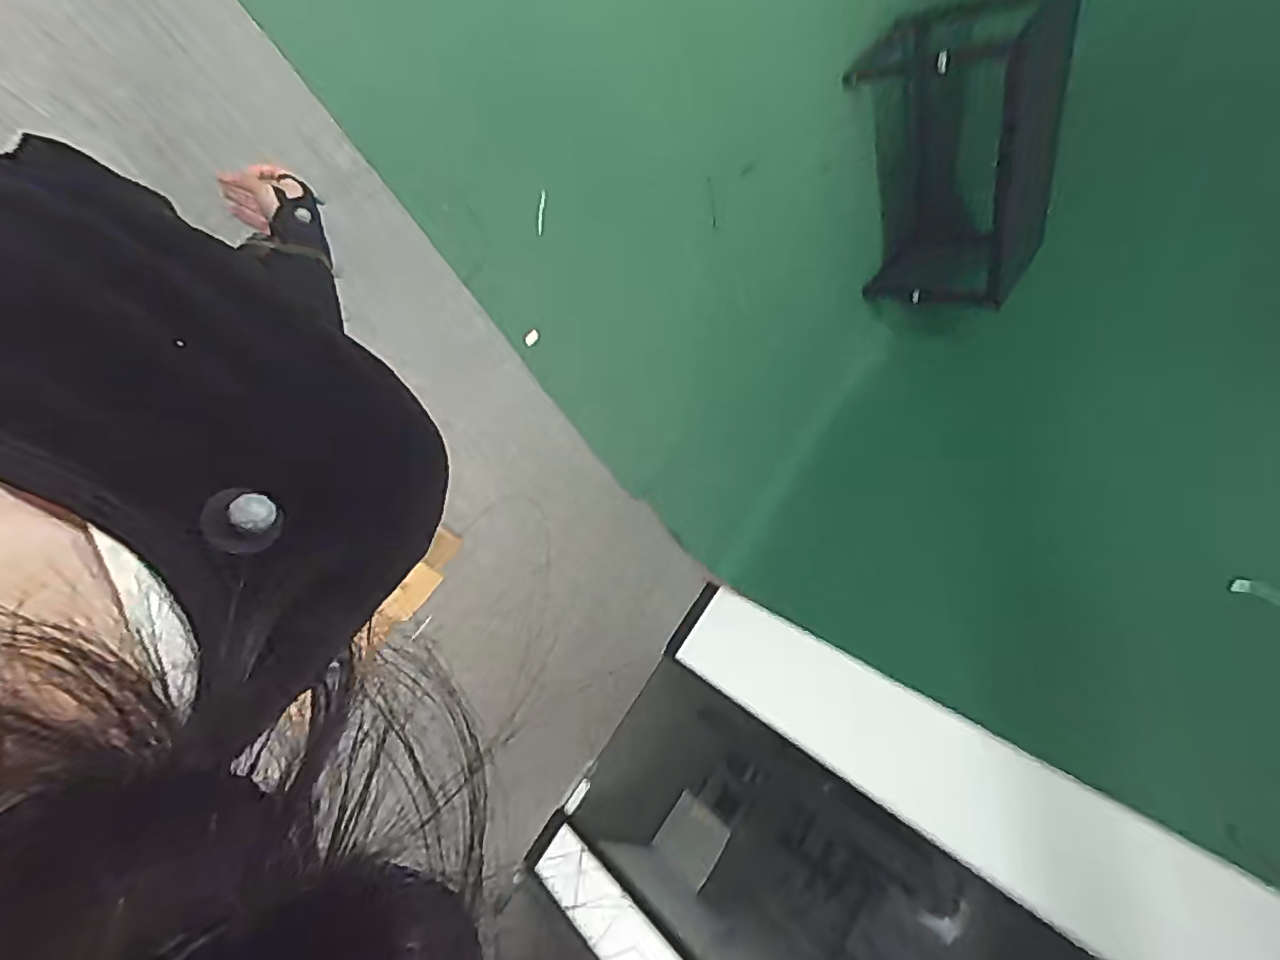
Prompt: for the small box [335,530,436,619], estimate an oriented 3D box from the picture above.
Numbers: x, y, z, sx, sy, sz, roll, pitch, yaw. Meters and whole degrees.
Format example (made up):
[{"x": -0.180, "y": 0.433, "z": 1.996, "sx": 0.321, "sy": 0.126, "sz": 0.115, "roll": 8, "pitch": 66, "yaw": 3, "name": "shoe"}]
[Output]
[{"x": -0.740, "y": 0.265, "z": 1.567, "sx": 0.168, "sy": 0.176, "sz": 0.179, "roll": -51, "pitch": 139, "yaw": -16, "name": "small box"}]
